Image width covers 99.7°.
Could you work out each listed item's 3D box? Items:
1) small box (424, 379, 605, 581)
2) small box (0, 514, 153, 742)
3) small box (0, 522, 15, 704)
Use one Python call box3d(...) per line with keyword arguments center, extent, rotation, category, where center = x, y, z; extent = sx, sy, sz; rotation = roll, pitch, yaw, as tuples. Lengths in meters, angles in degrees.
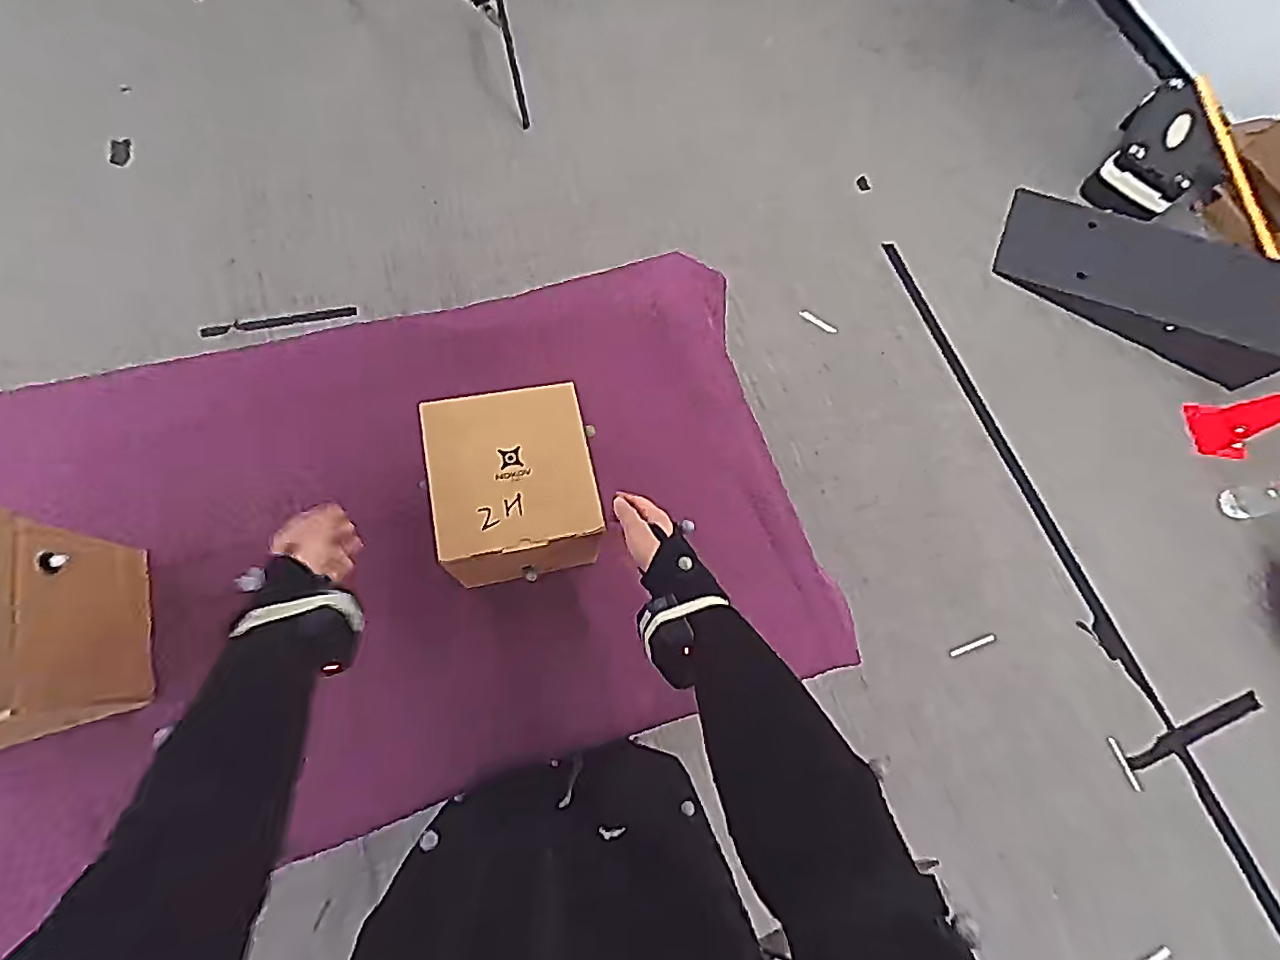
box3d(center=(-0.144, 0.007, 0.634), extent=(0.168, 0.176, 0.179), rotation=(-10, 73, -11), category="small box")
box3d(center=(-0.610, 0.152, 0.512), extent=(0.168, 0.176, 0.179), rotation=(-15, 73, -14), category="small box")
box3d(center=(-0.588, 0.093, 0.360), extent=(0.168, 0.176, 0.179), rotation=(-15, 73, -14), category="small box")
